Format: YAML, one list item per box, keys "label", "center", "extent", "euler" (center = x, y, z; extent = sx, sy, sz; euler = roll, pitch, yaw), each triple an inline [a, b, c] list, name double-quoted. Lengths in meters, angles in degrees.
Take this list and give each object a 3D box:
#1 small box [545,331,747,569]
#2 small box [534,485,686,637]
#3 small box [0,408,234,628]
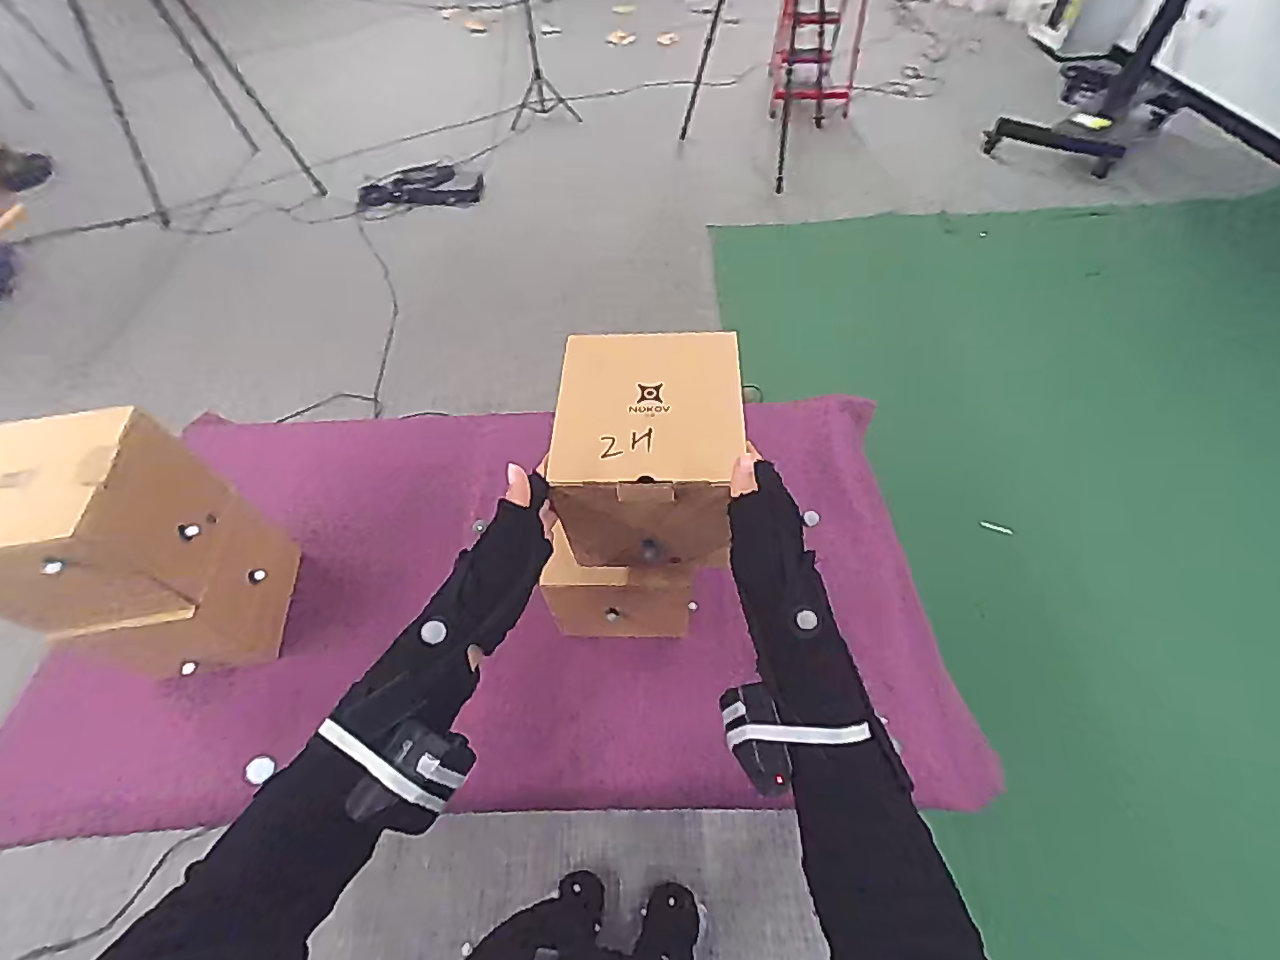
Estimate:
- label: "small box"
  center: [0.014, -0.027, 0.542]
  extent: [0.168, 0.176, 0.179]
  euler: [0, 57, 6]
- label: "small box"
  center: [-0.027, 0.101, 0.726]
  extent: [0.179, 0.176, 0.168]
  euler: [2, 53, 5]
- label: "small box"
  center: [-0.605, 0.048, 0.593]
  extent: [0.179, 0.176, 0.168]
  euler: [-9, 55, -5]
